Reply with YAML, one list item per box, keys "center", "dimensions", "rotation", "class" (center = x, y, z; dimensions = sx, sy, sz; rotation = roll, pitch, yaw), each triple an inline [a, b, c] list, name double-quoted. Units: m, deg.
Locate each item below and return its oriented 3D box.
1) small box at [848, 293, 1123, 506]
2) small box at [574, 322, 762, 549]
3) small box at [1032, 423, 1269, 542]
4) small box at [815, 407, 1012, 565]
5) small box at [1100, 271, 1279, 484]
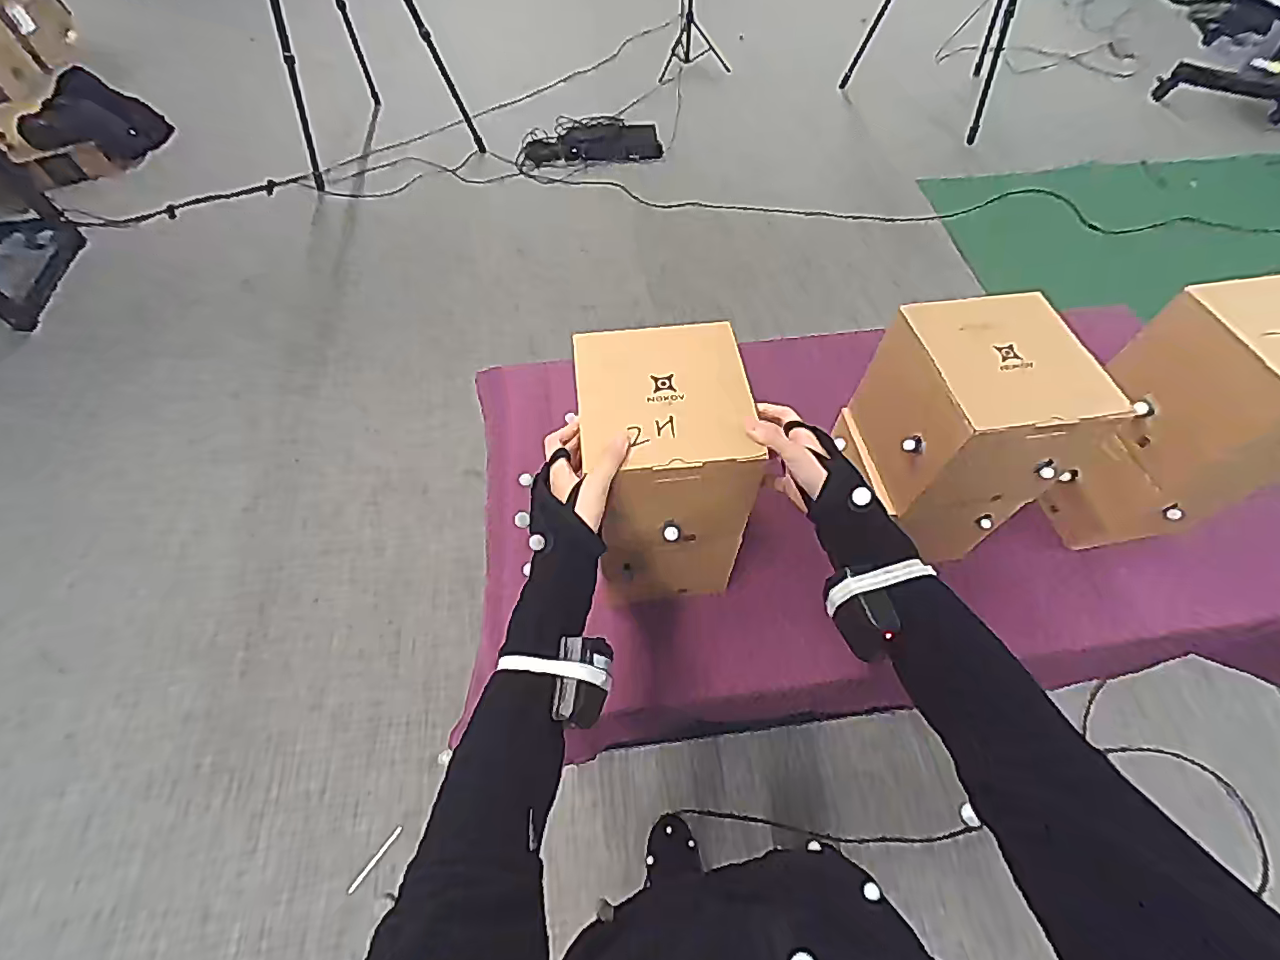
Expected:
- center: [0.362, -0.082, 0.612]
  dimensions: [0.168, 0.176, 0.179]
  rotation: [-6, 56, -5]
  class: "small box"
- center: [0.019, -0.045, 0.587]
  dimensions: [0.168, 0.176, 0.179]
  rotation: [-6, 57, -3]
  class: "small box"
- center: [0.682, -0.027, 0.761]
  dimensions: [0.179, 0.176, 0.168]
  rotation: [-9, 58, -4]
  class: "small box"
- center: [0.357, 0.007, 0.748]
  dimensions: [0.179, 0.176, 0.168]
  rotation: [-6, 57, -4]
  class: "small box"
- center: [0.680, -0.113, 0.620]
  dimensions: [0.179, 0.176, 0.168]
  rotation: [-8, 57, -4]
  class: "small box"
